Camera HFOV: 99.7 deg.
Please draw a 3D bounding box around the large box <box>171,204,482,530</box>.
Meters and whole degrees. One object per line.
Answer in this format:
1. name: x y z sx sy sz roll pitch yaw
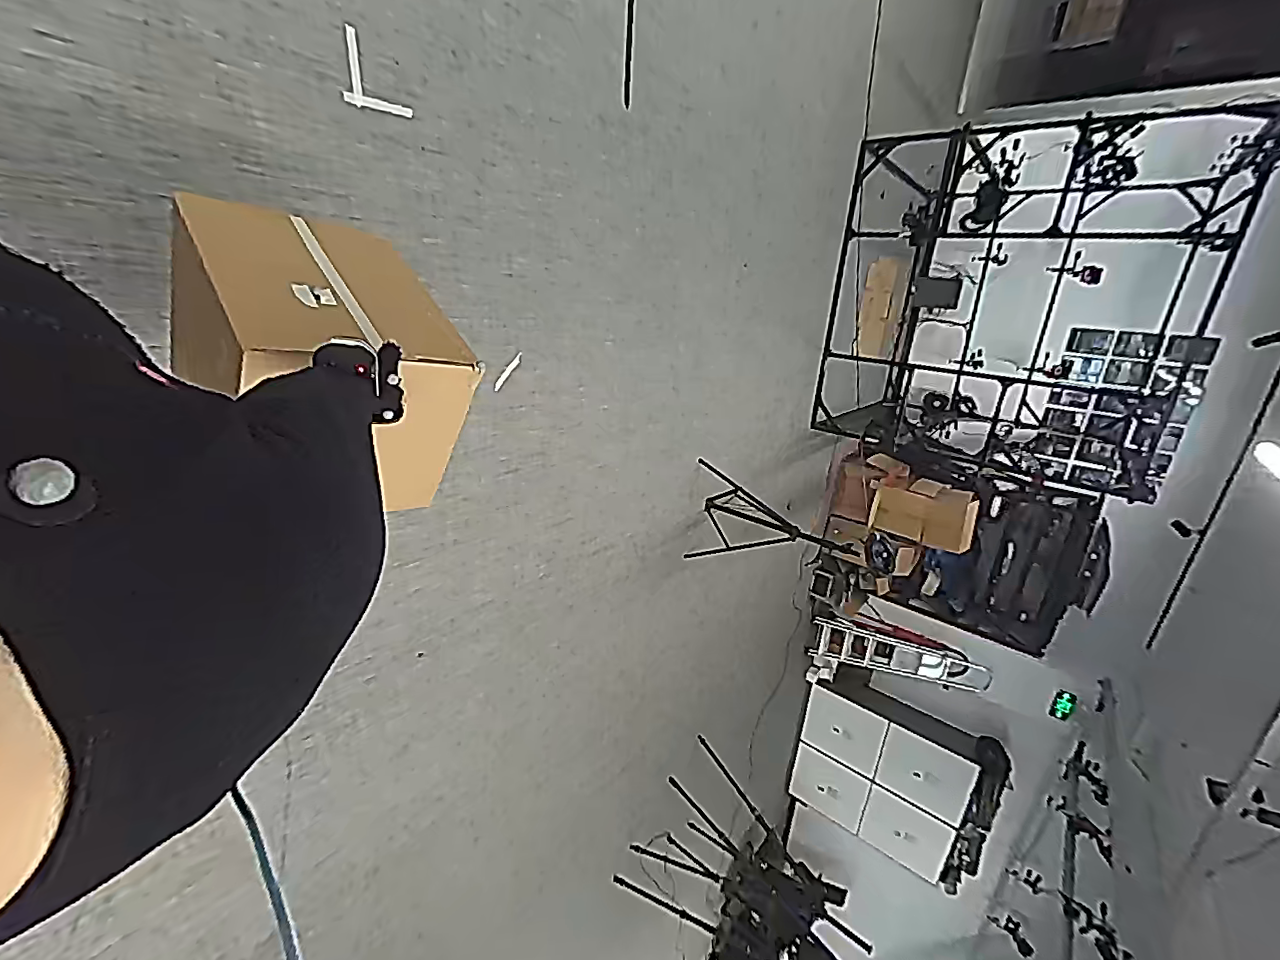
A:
1. large box: -0.539 -0.180 0.907 0.320 0.408 0.320 -9 141 -48
